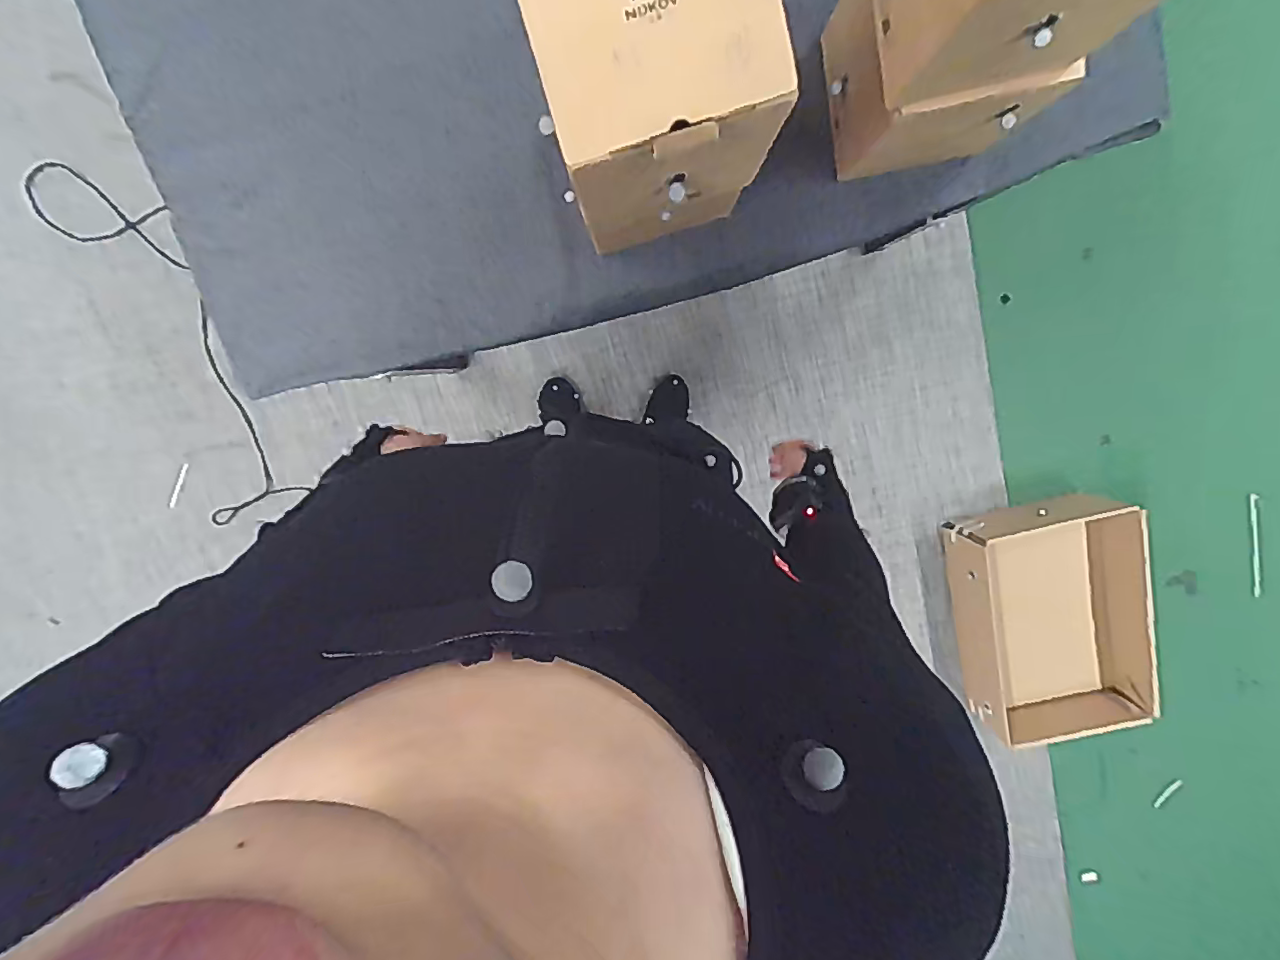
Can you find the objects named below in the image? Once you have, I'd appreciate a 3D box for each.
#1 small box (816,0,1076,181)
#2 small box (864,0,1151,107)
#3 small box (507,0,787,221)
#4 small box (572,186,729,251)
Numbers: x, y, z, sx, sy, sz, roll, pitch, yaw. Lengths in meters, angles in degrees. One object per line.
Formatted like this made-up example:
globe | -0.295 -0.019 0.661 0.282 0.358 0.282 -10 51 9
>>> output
small box | 0.305 -0.443 0.567 0.179 0.176 0.168 -11 100 3
small box | 0.288 -0.422 0.405 0.179 0.176 0.168 -12 100 4
small box | 0.000 -0.324 0.426 0.168 0.176 0.179 -16 101 4
small box | -0.001 -0.367 0.586 0.179 0.176 0.168 -17 101 2
